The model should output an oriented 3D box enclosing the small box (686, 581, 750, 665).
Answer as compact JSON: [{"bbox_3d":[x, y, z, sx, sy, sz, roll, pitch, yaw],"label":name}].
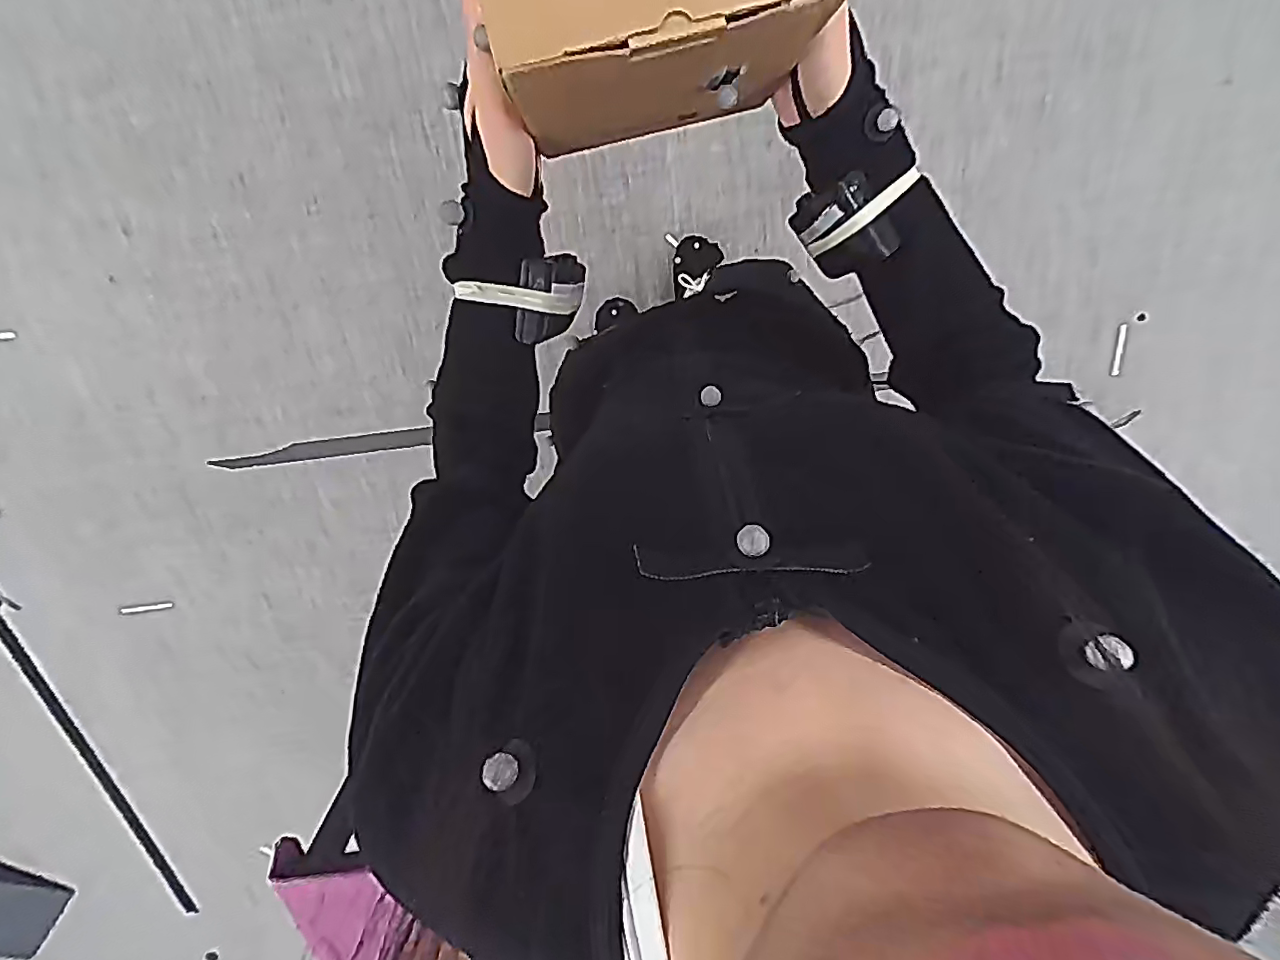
[{"bbox_3d":[0.231,0.425,1.620,0.168,0.176,0.179,-6,112,0],"label":"small box"}]
